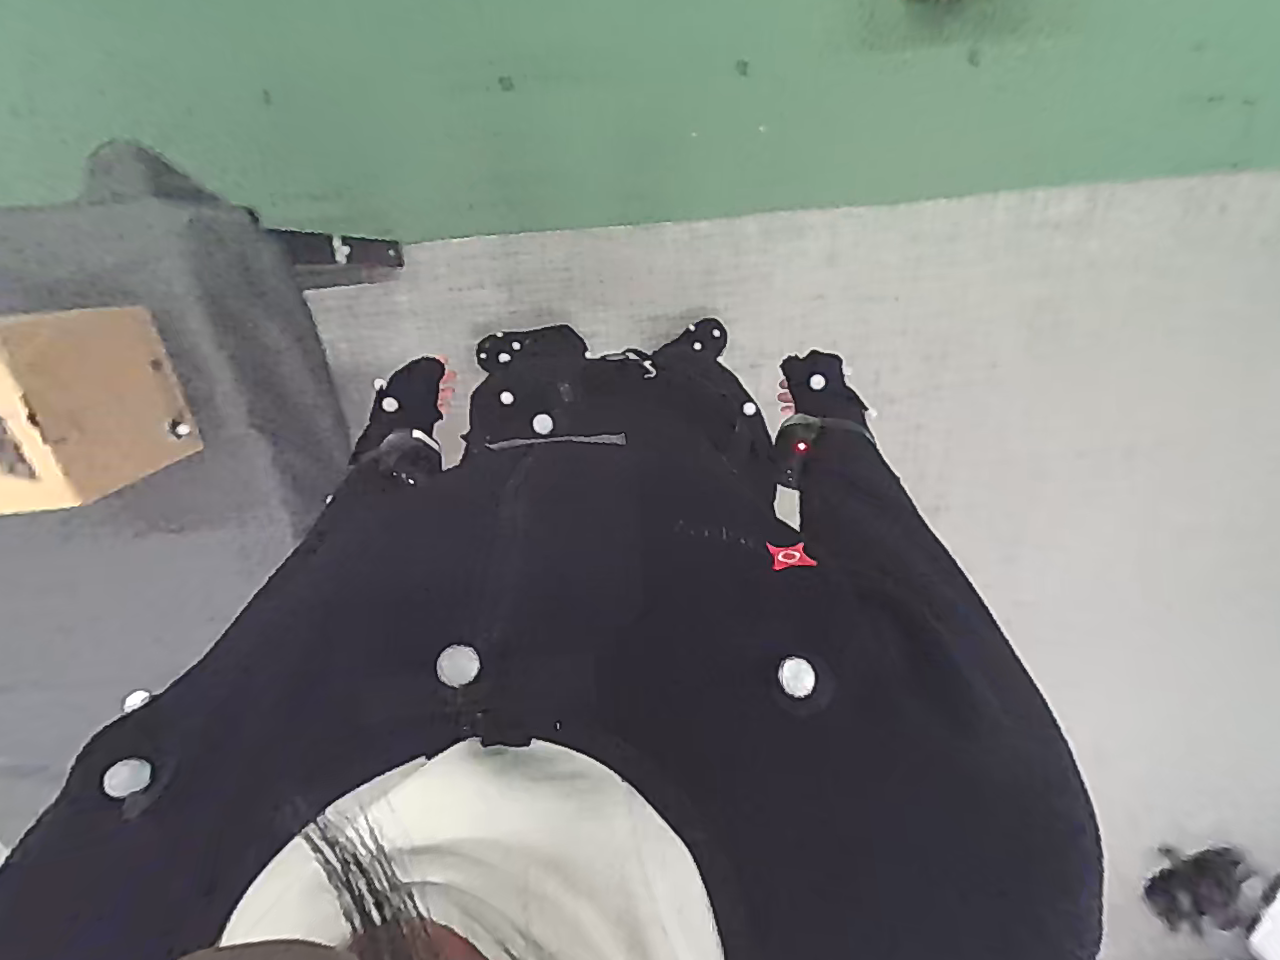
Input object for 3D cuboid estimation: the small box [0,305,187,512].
[{"bbox_3d":[-0.607,-0.077,0.537,0.179,0.176,0.168,-5,113,0],"label":"small box"}]
